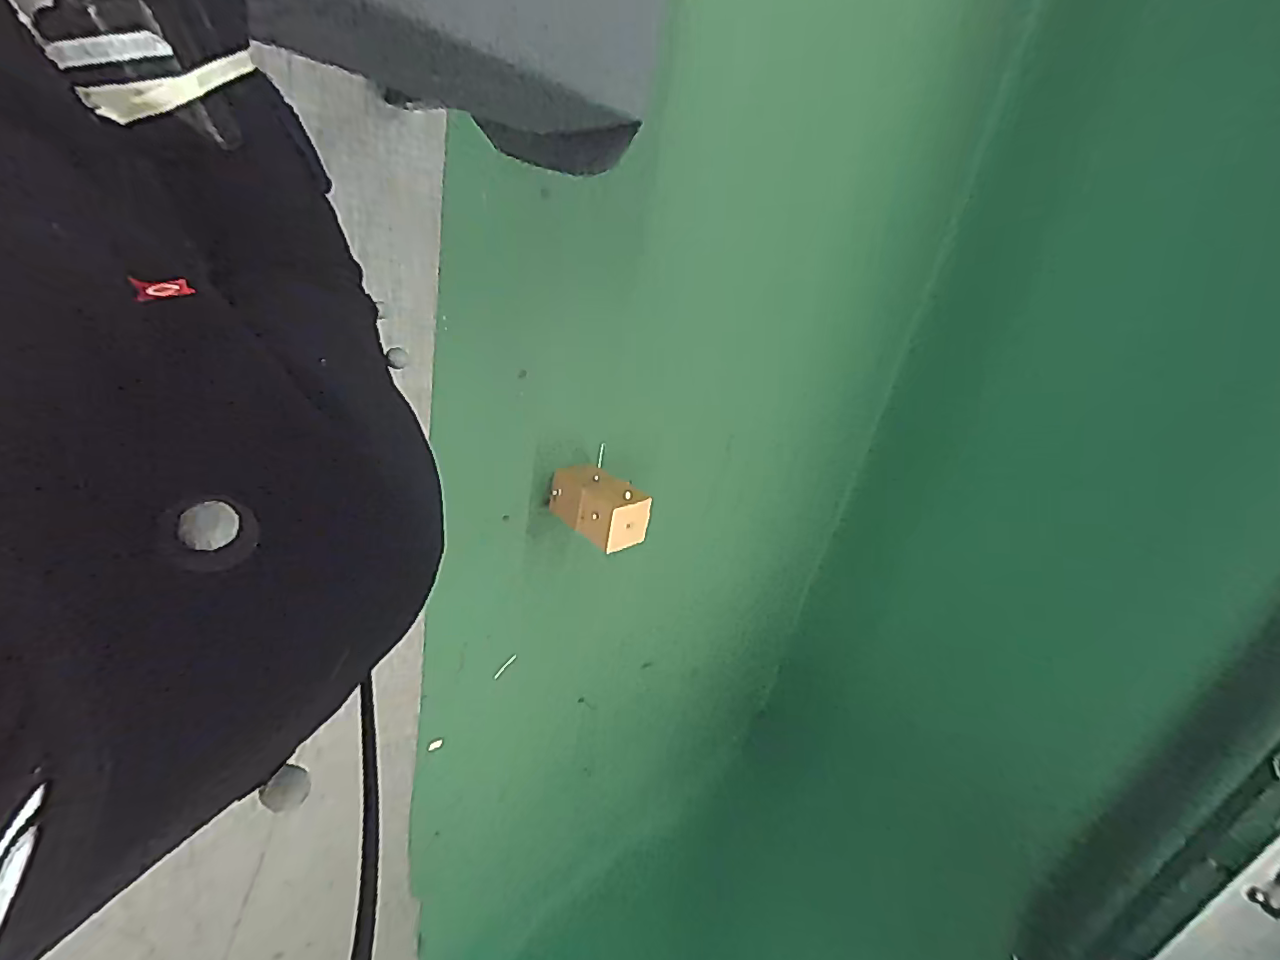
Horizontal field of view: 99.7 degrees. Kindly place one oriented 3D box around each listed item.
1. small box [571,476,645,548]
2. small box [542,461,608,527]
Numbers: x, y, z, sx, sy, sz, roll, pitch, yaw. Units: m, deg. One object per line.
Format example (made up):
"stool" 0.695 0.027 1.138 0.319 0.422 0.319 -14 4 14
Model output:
"small box" -0.112 0.101 1.821 0.179 0.176 0.168 -15 124 -44
"small box" -0.222 0.042 1.926 0.179 0.176 0.168 -12 123 -43
